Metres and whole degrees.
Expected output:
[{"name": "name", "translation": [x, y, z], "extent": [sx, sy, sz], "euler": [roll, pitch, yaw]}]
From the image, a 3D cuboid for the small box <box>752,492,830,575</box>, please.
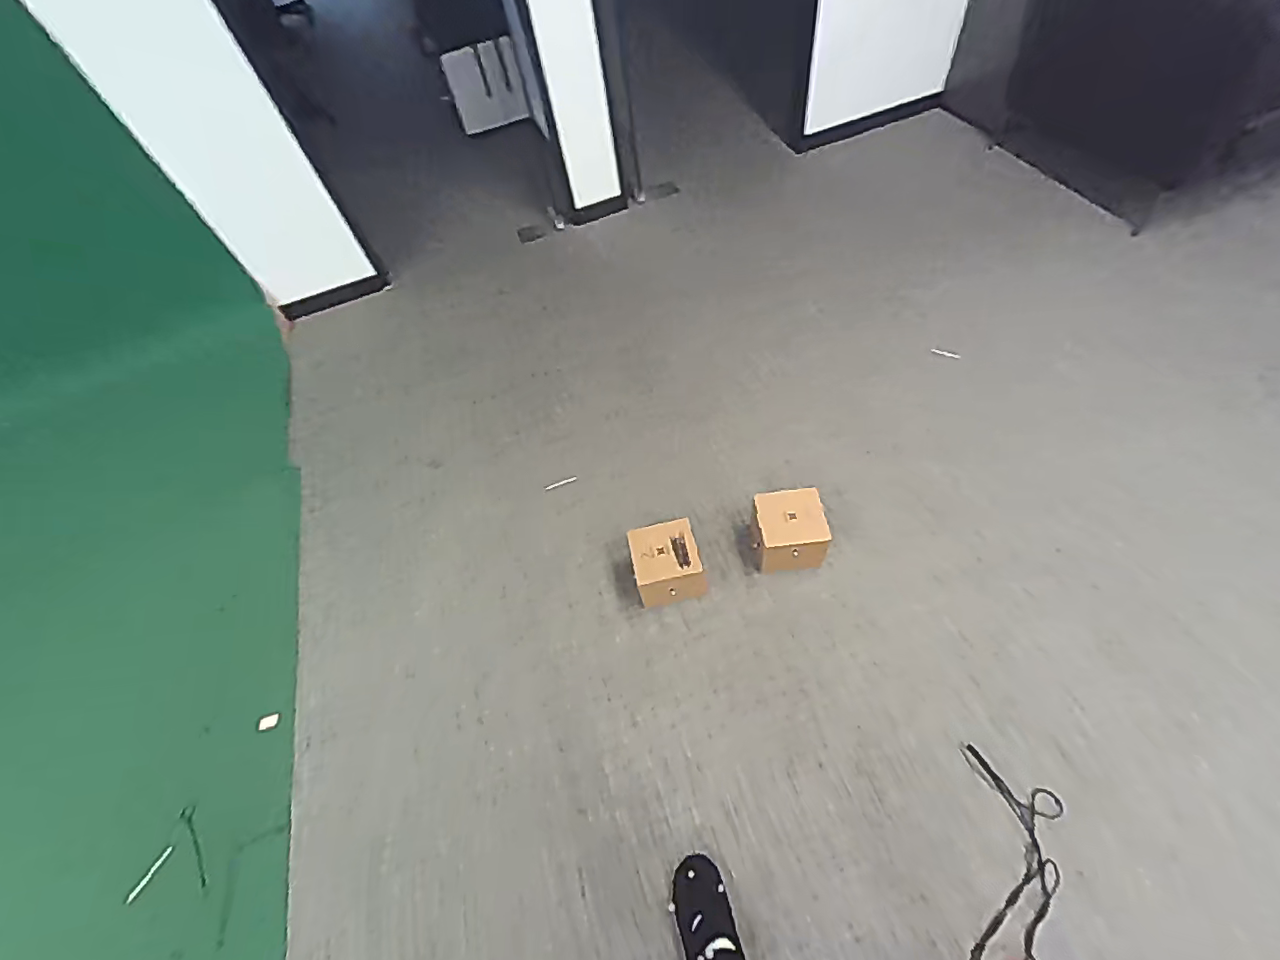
[{"name": "small box", "translation": [0.410, 0.153, 1.503], "extent": [0.179, 0.176, 0.168], "euler": [-7, 56, 3]}]
